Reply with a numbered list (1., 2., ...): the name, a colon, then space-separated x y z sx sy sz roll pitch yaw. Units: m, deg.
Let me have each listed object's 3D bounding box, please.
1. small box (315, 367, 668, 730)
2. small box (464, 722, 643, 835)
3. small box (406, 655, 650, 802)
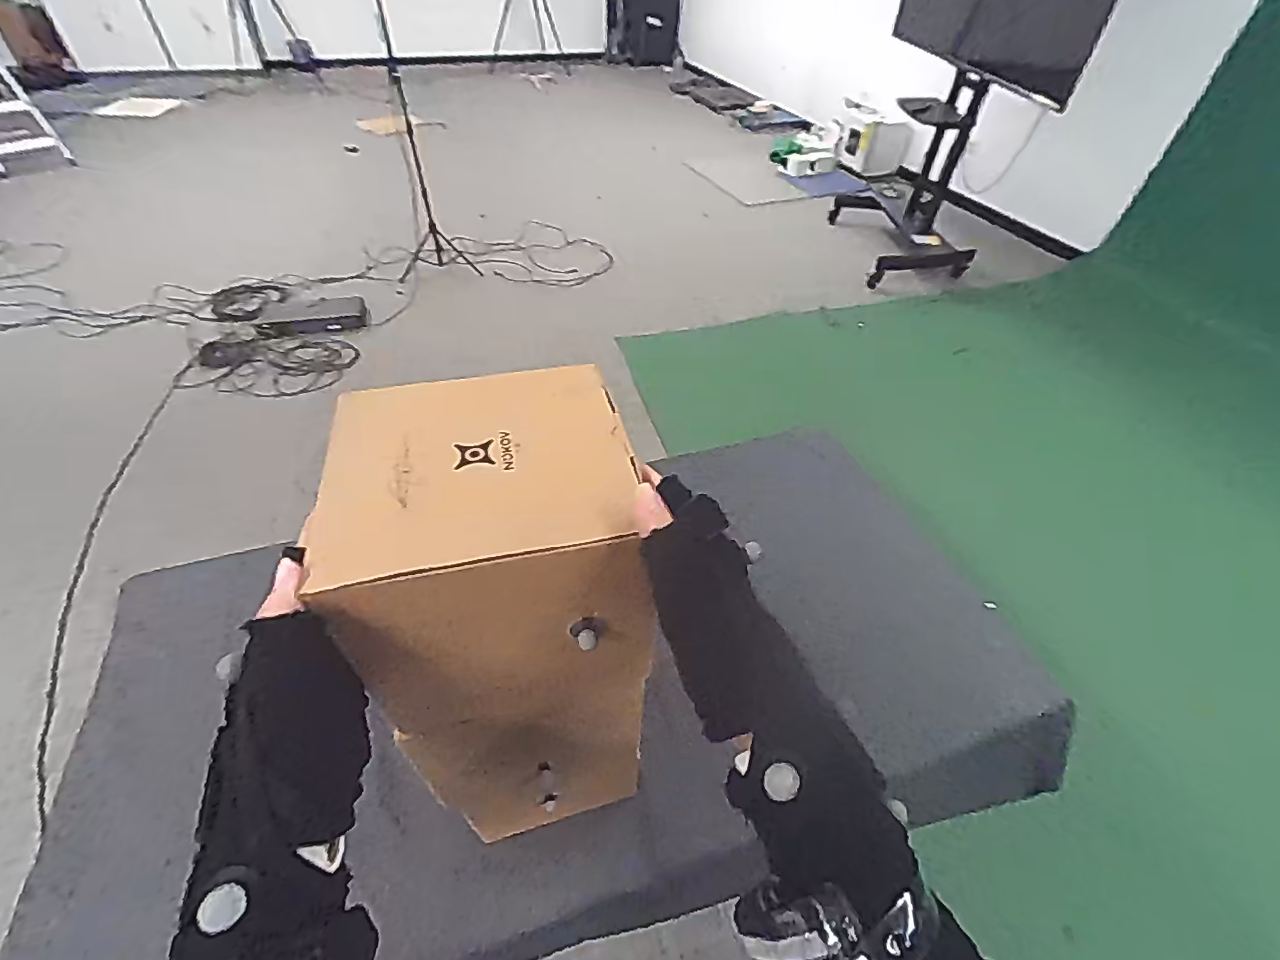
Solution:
1. small box: -0.090 0.045 0.378 0.179 0.176 0.168 -11 44 -11
2. small box: -0.105 0.271 0.614 0.179 0.176 0.168 -12 47 -13
3. small box: -0.101 0.162 0.493 0.179 0.176 0.168 -10 46 -13
